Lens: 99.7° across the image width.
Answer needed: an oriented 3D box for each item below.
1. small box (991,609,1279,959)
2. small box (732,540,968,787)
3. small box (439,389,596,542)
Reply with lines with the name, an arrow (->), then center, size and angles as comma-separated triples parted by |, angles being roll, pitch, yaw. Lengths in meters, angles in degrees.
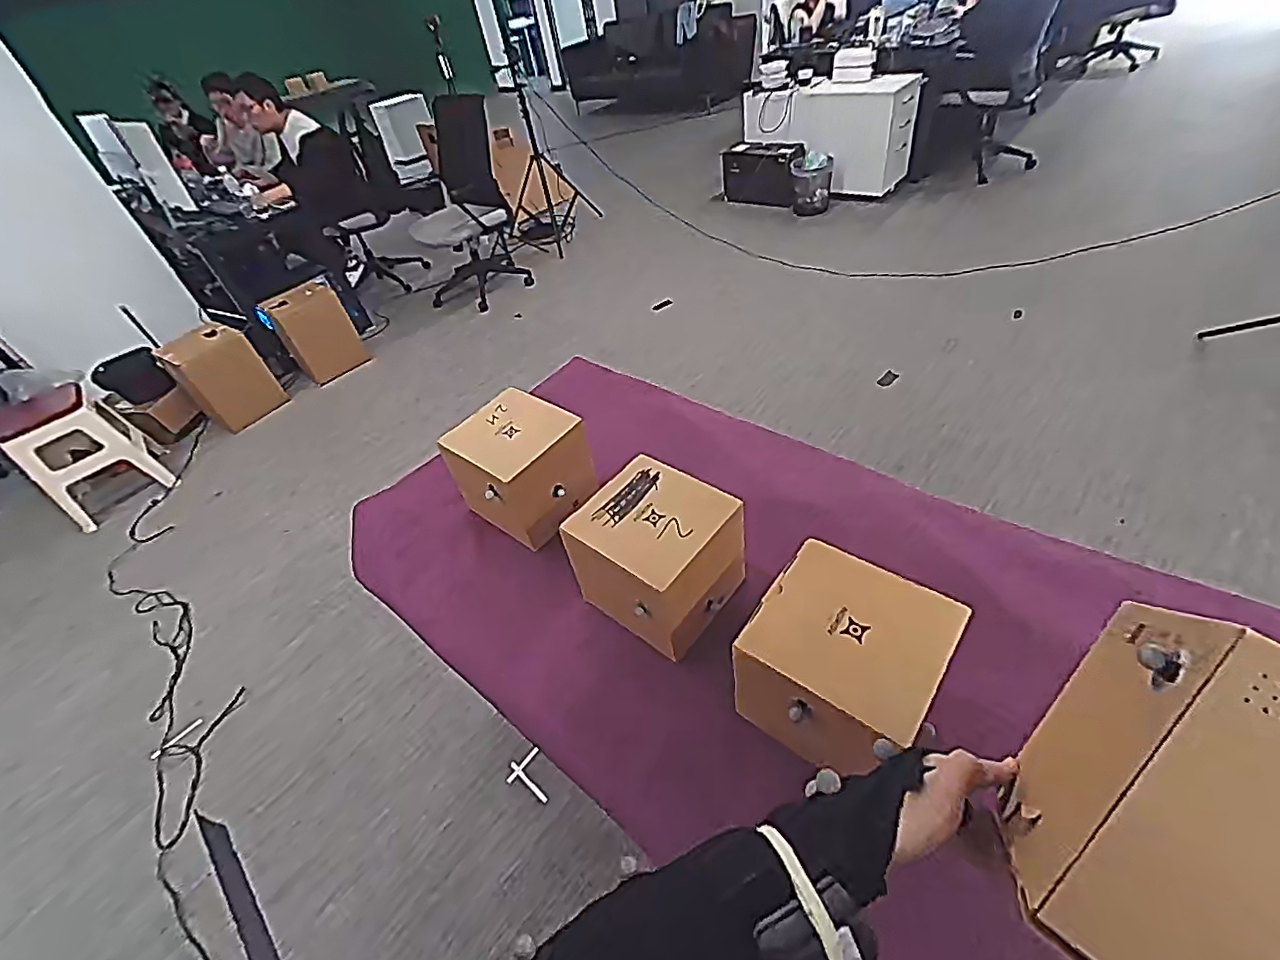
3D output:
small box -> 0.326, 0.185, 0.280 | 0.179, 0.168, 0.176 | 31, 97, 28
small box -> 0.222, 0.205, 0.597 | 0.179, 0.176, 0.168 | 25, 55, 33
small box -> -0.195, -0.021, 0.912 | 0.179, 0.176, 0.168 | 26, 55, 30
